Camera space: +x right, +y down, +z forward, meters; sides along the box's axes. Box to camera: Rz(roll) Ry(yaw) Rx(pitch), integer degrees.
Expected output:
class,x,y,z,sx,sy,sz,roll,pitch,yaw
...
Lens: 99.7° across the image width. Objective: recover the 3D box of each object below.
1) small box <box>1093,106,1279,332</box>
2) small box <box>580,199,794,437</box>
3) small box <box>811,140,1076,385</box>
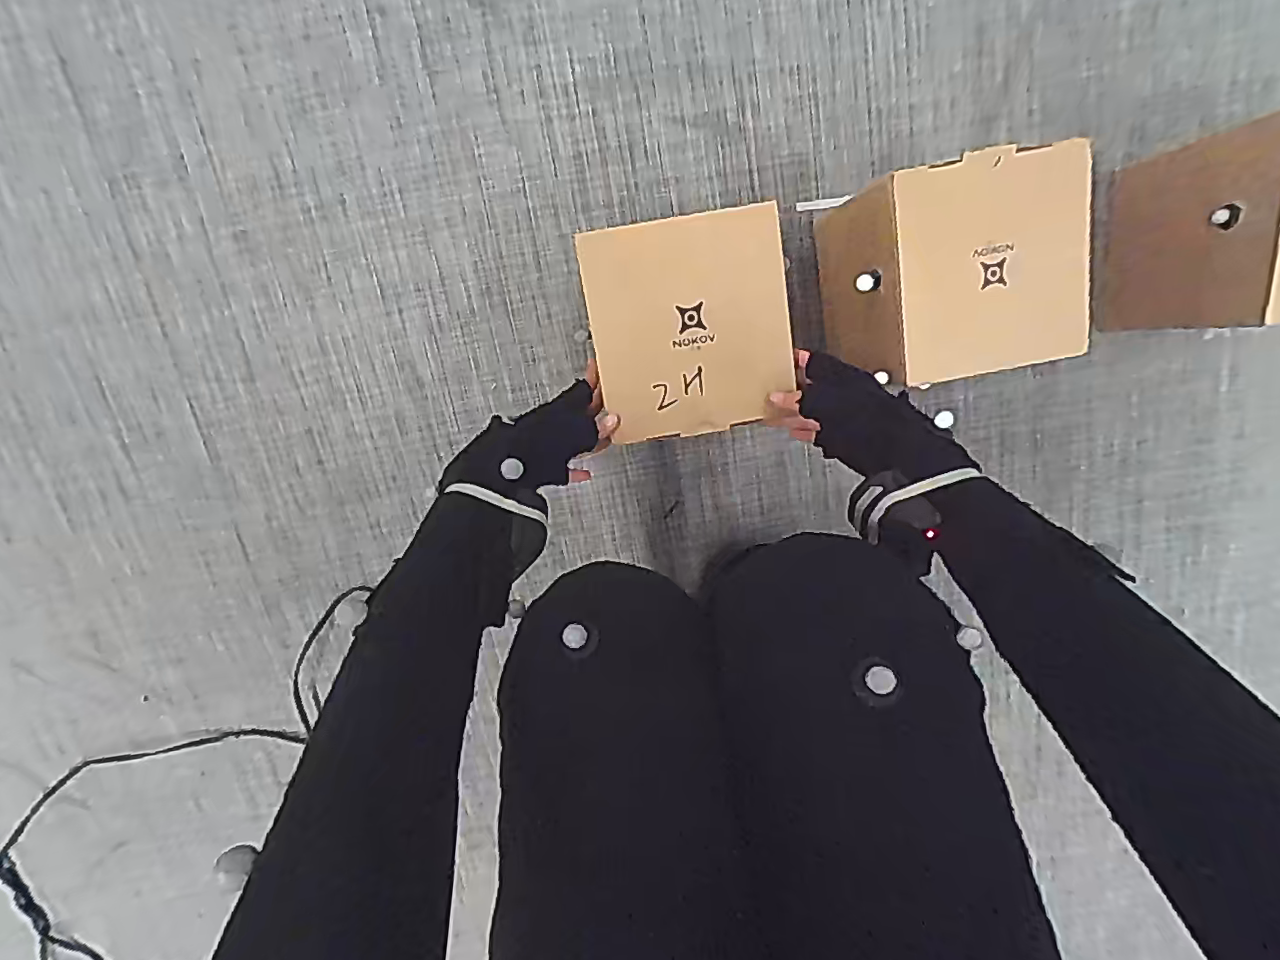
class,x,y,z,sx,sy,sz,roll,pitch,yaw
small box,0.608,-0.252,0.546,0.168,0.176,0.179,-7,103,-1
small box,0.036,-0.148,0.530,0.168,0.176,0.179,-10,103,-2
small box,0.286,-0.199,0.539,0.168,0.176,0.179,-11,102,-1
